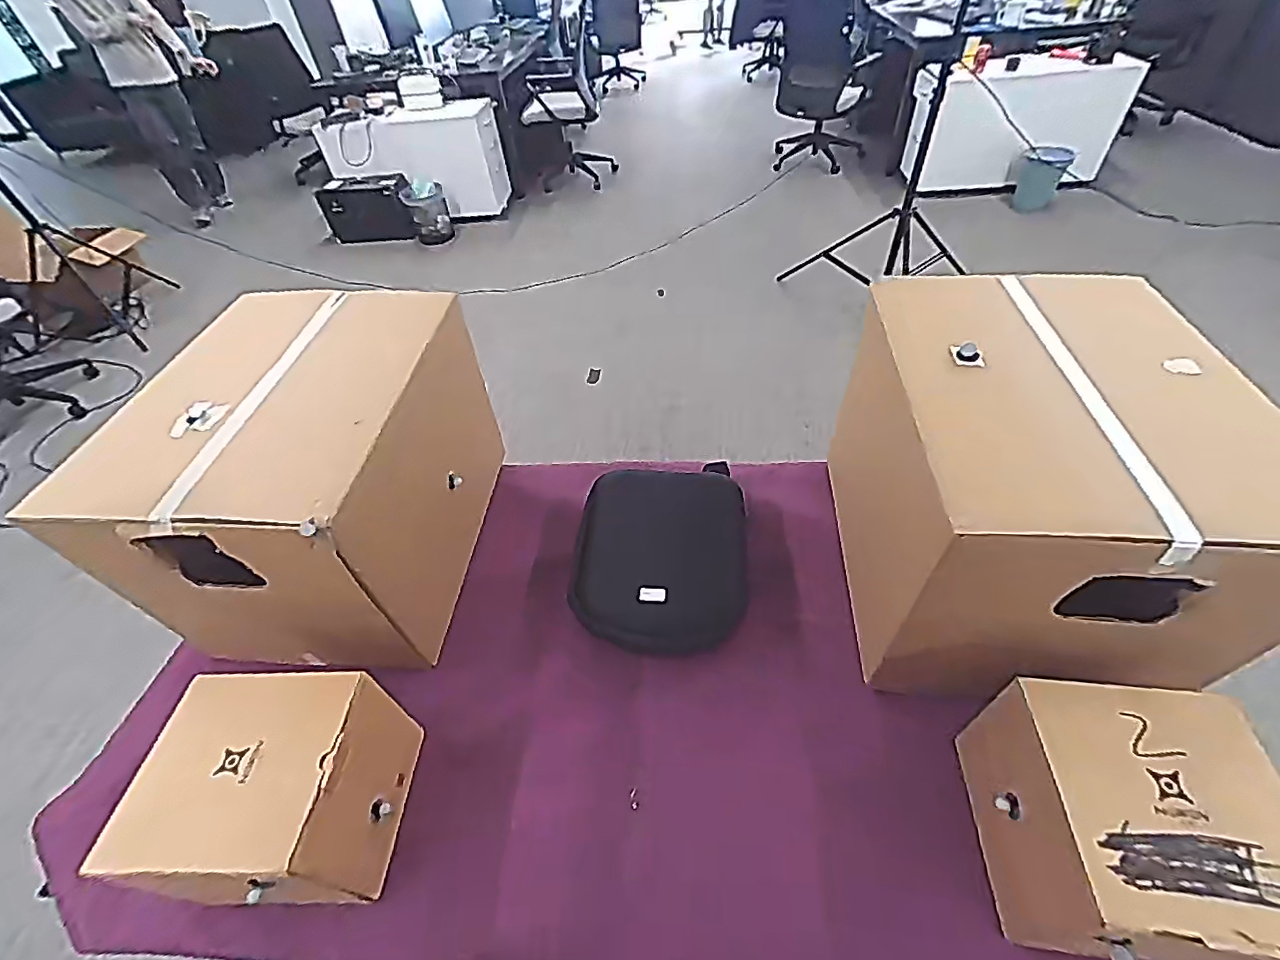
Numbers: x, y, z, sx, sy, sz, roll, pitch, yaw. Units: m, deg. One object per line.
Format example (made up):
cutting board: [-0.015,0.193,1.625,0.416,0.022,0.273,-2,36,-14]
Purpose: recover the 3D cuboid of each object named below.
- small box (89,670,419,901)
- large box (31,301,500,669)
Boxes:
small box: [-0.353,0.308,0.542,0.179,0.176,0.168,-3,45,2]
large box: [-0.409,0.001,0.737,0.320,0.320,0.408,0,49,4]
